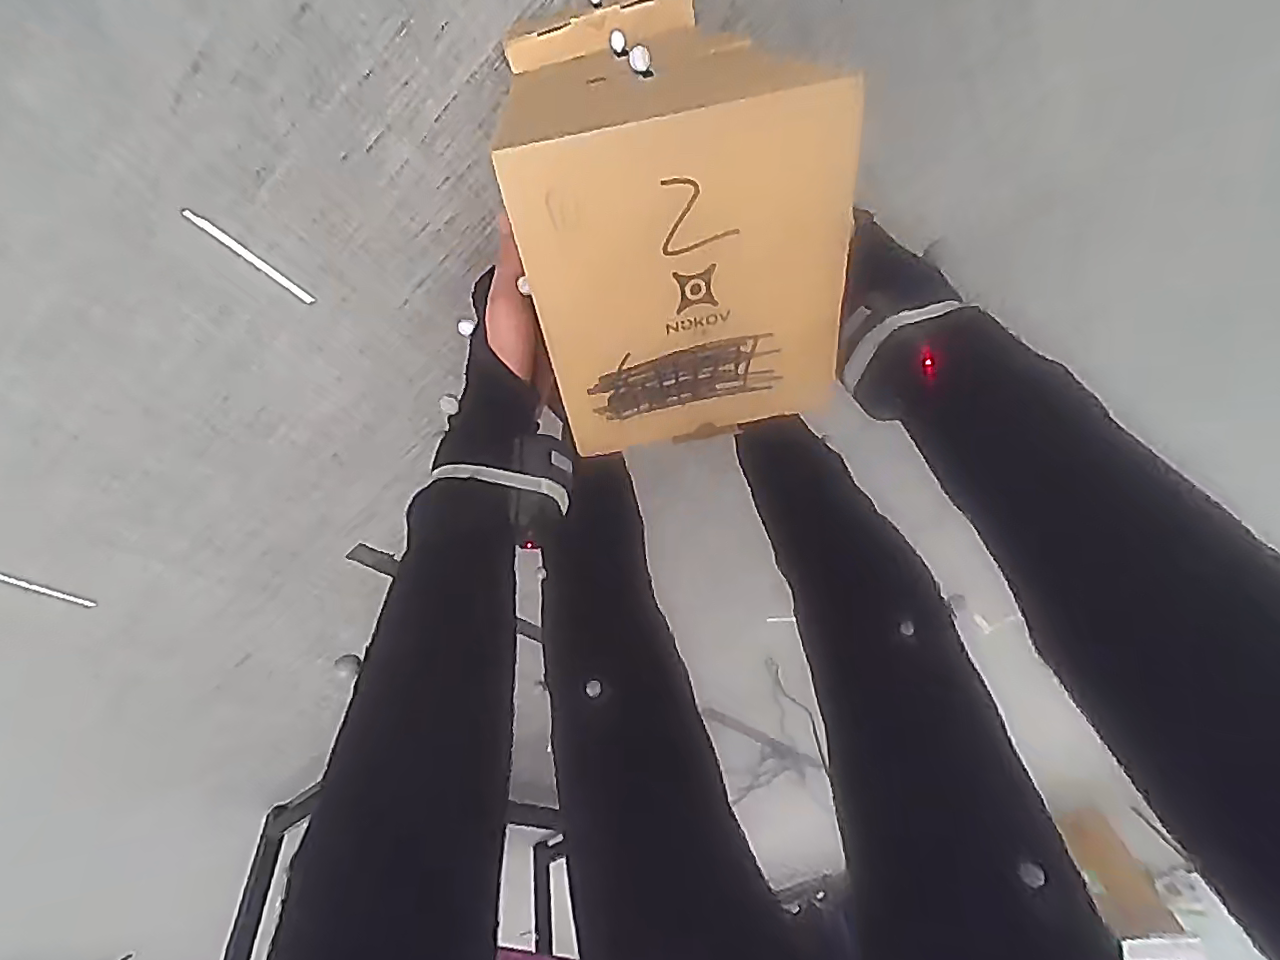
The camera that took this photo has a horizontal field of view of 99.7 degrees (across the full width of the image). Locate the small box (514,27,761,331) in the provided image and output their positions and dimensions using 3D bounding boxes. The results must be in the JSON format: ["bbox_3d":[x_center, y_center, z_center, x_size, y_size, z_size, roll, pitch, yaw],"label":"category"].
[{"bbox_3d":[-0.003,-0.261,0.463,0.168,0.176,0.179,-14,134,1],"label":"small box"}]

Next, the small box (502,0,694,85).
[{"bbox_3d":[-0.032,-0.387,0.567,0.168,0.176,0.179,-16,133,2],"label":"small box"}]
